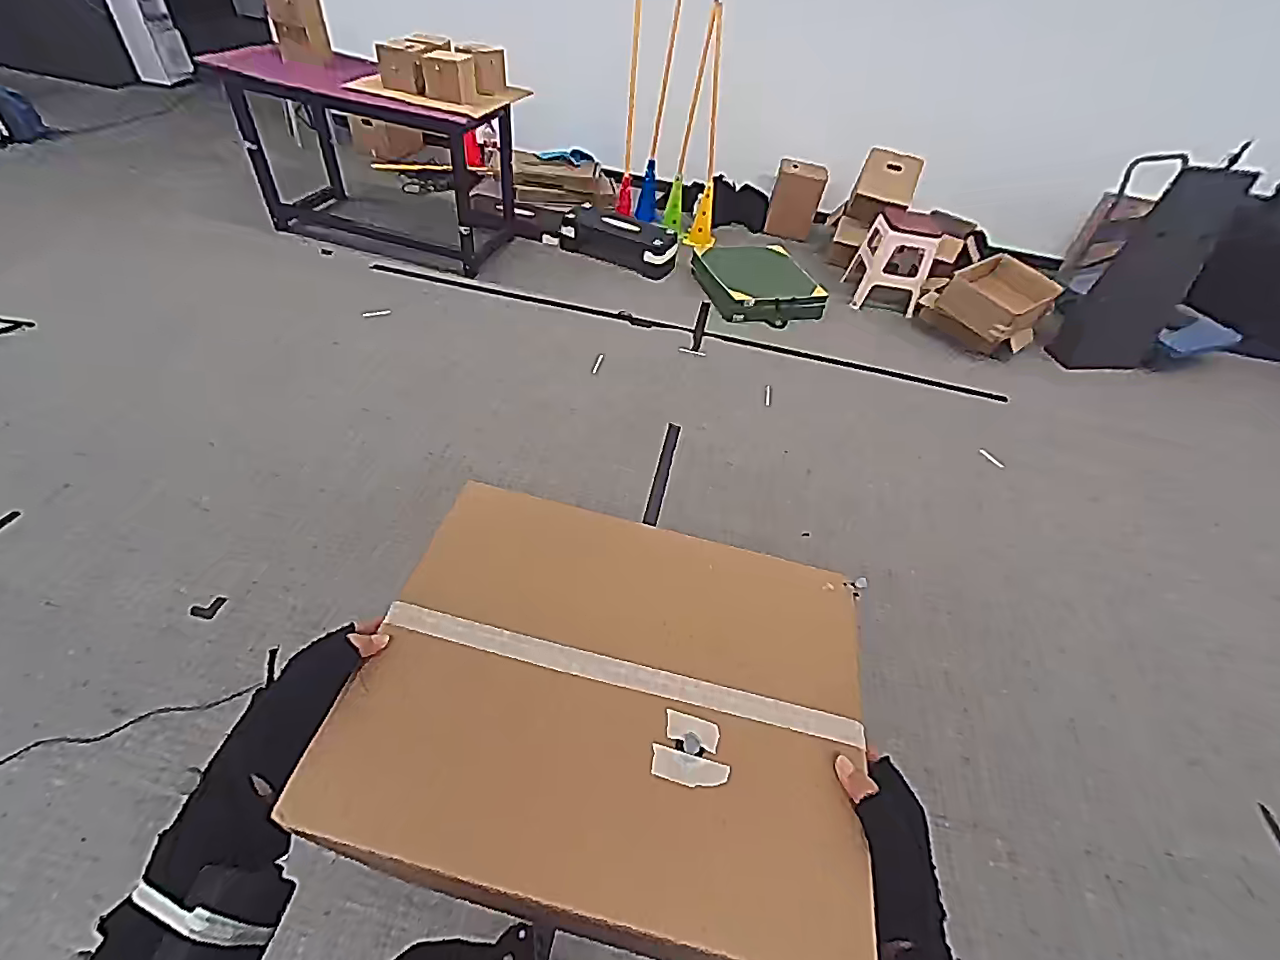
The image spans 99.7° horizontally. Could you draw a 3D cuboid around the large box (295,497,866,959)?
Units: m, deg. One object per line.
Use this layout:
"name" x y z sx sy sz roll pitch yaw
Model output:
"large box" -0.035 0.267 0.568 0.408 0.320 0.320 14 49 3
